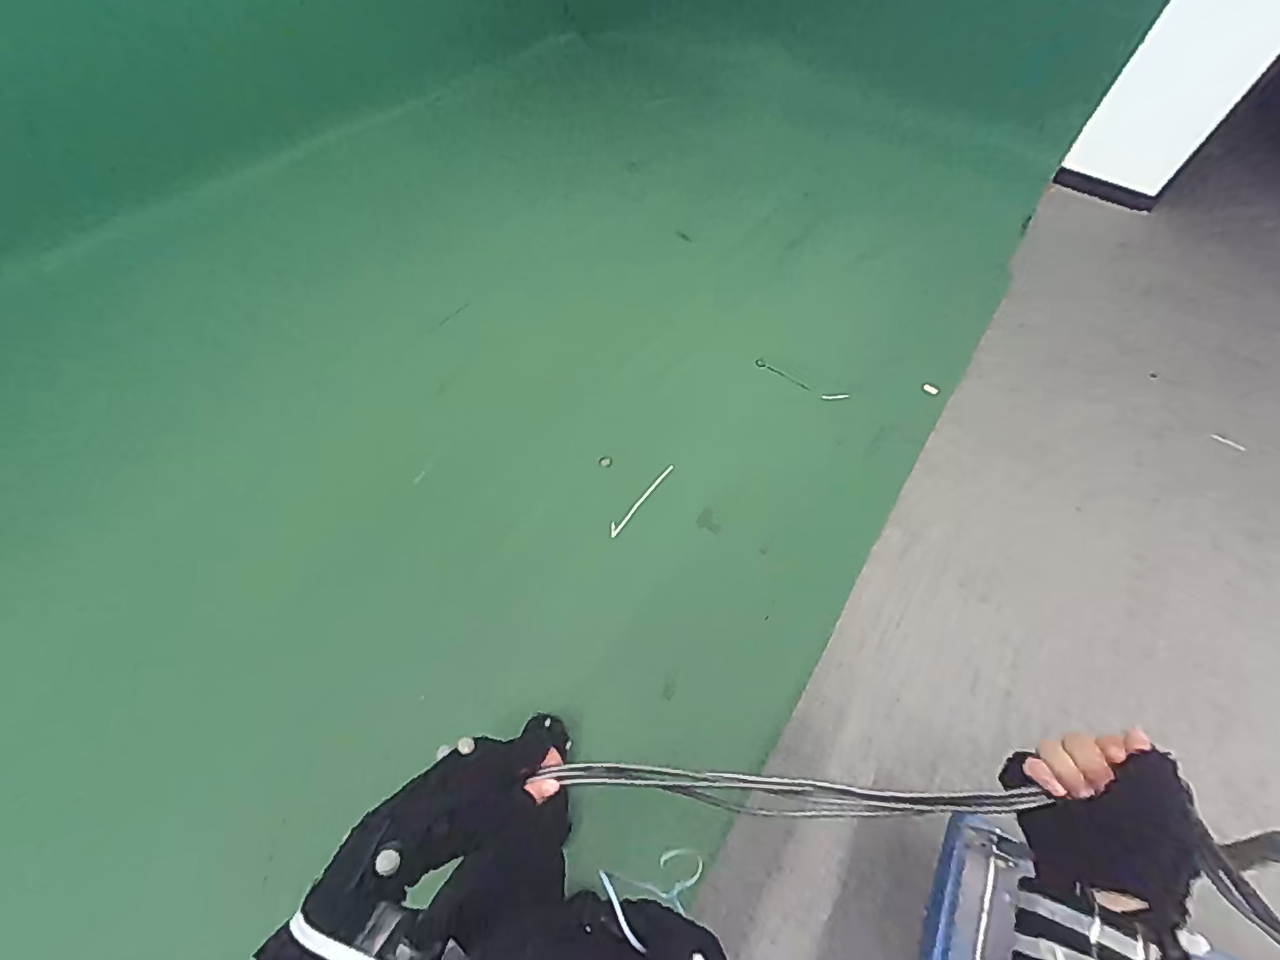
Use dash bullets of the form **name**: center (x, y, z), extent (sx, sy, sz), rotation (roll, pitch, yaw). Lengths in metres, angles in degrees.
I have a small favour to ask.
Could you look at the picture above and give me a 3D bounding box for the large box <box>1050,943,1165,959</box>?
- **large box**: center (0.892, 0.967, 0.775), extent (0.320, 0.320, 0.408), rotation (8, 57, 2)
